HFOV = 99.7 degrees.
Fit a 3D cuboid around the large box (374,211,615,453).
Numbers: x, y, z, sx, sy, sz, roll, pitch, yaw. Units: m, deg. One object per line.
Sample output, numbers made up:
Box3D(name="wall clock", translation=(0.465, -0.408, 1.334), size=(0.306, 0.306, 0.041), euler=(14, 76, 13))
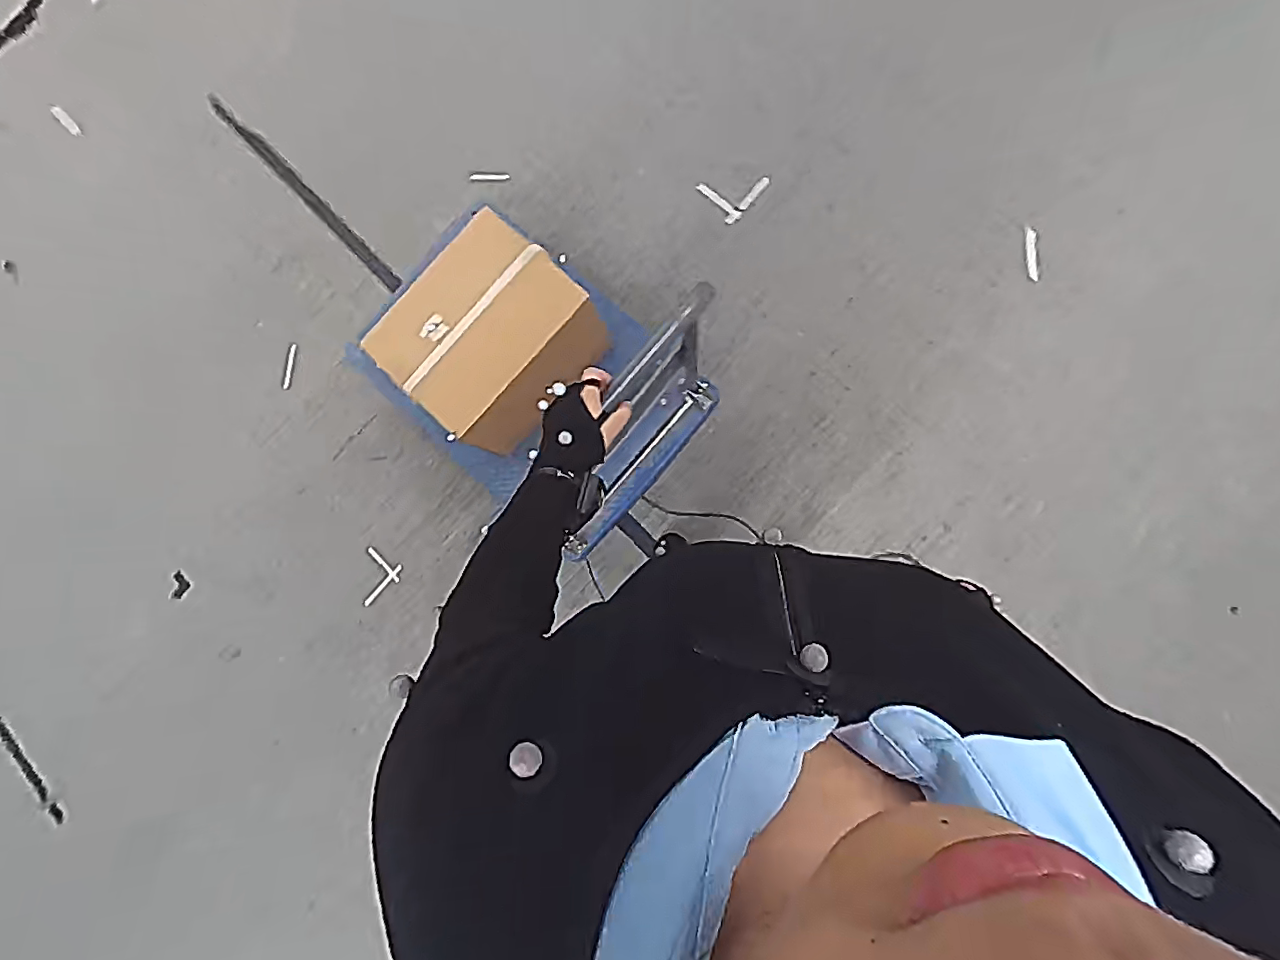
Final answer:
Box3D(name="large box", translation=(-0.318, -0.323, 1.289), size=(0.320, 0.320, 0.408), euler=(42, 91, 9))
